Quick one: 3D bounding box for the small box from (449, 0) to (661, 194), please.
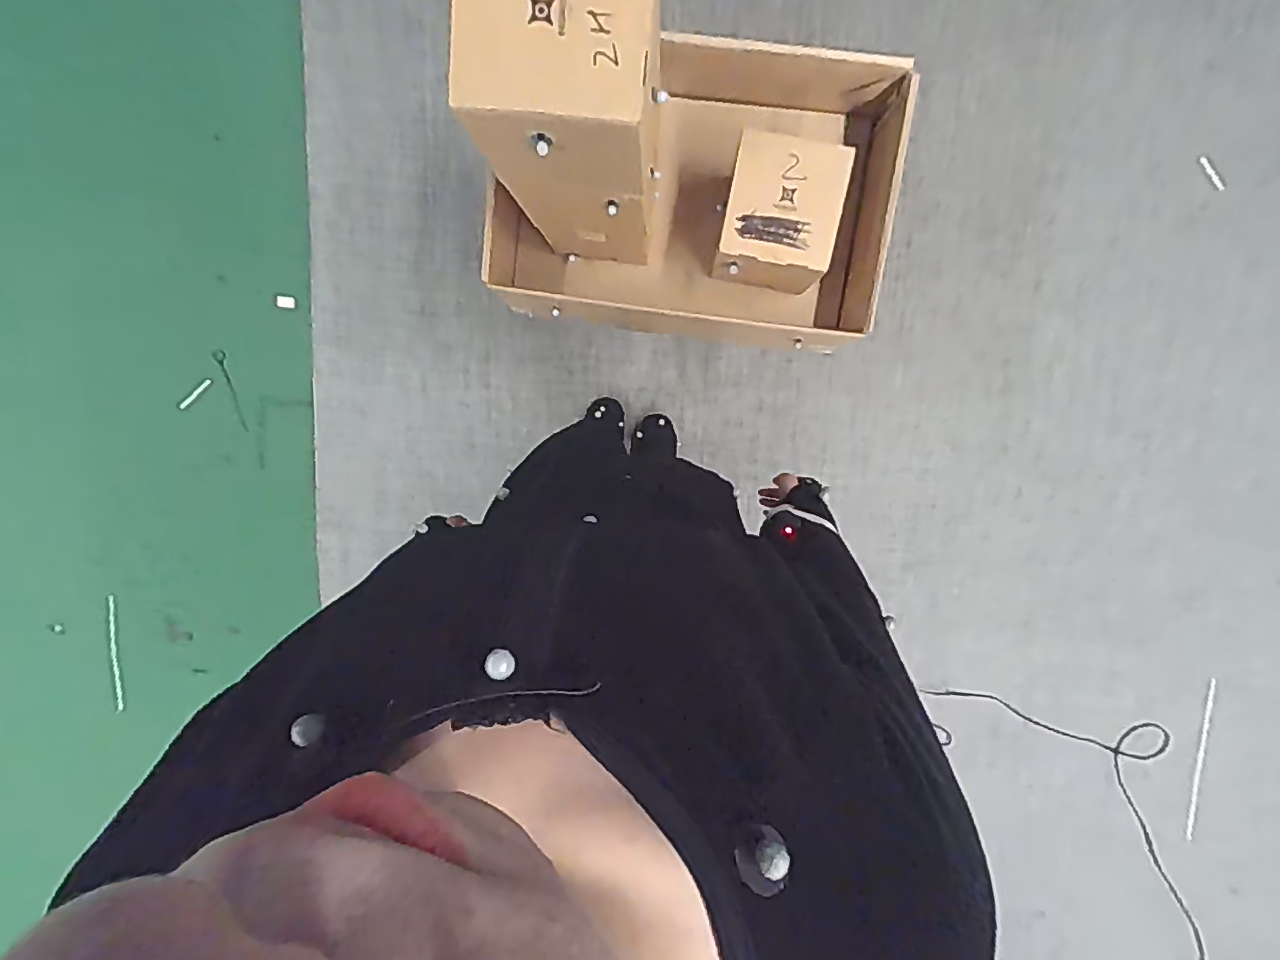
[{"bbox_3d":[-0.074,-0.412,0.549,0.179,0.176,0.168,6,99,0],"label":"small box"}]

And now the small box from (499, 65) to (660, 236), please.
[{"bbox_3d":[-0.070,-0.438,0.712,0.179,0.176,0.168,7,98,0],"label":"small box"}]
